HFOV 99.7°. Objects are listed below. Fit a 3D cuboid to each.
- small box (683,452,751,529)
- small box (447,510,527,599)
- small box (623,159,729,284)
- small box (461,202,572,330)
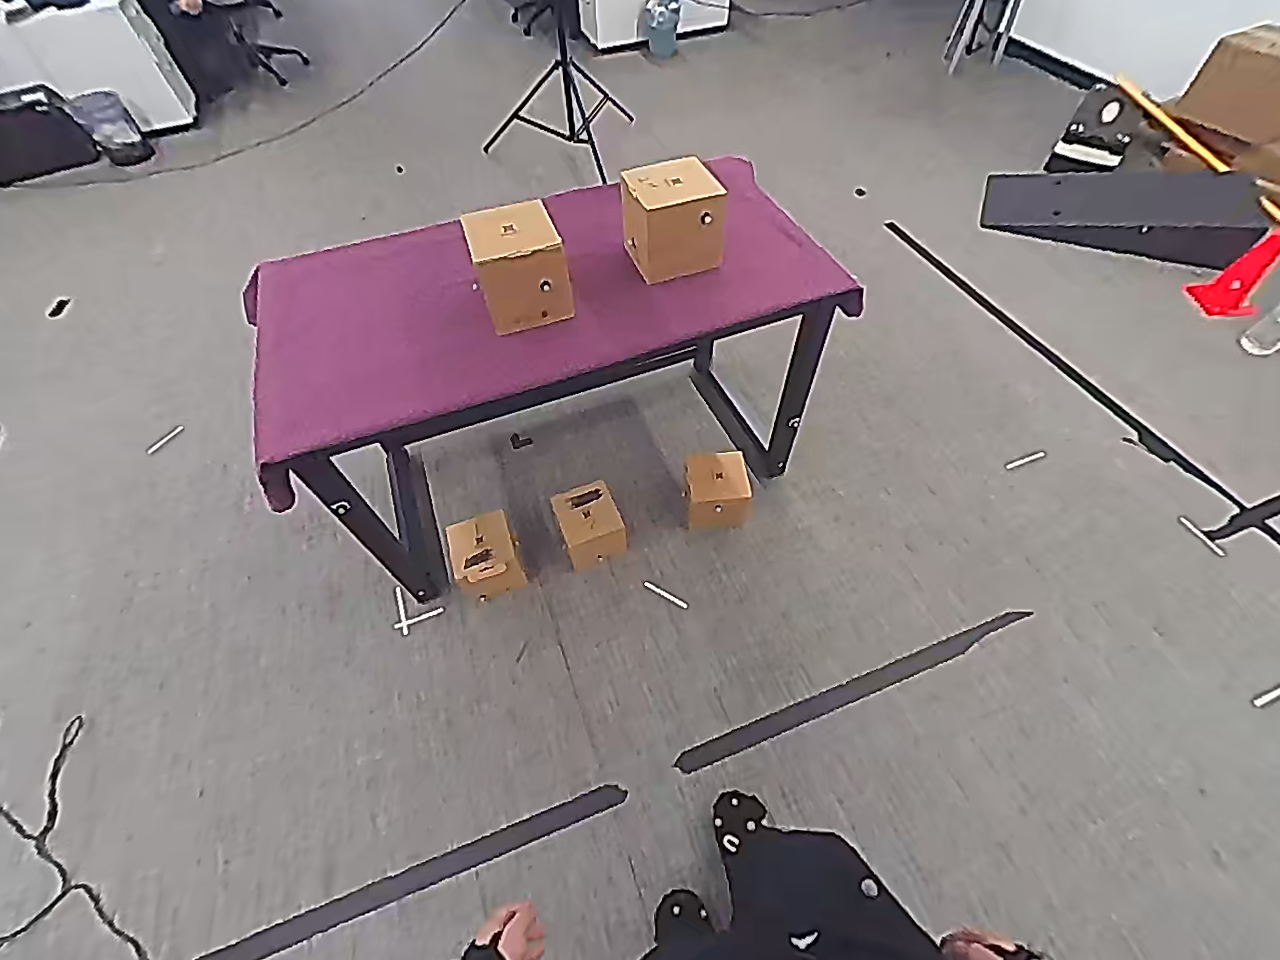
[{"bbox_3d":[0.228,0.036,1.641,0.179,0.176,0.168,-5,56,0],"label":"small box"},{"bbox_3d":[-0.431,0.219,1.536,0.168,0.176,0.179,-18,56,-10],"label":"small box"},{"bbox_3d":[0.071,-0.553,1.163,0.179,0.176,0.168,-18,56,-9],"label":"small box"},{"bbox_3d":[-0.242,-0.421,1.085,0.168,0.176,0.179,-17,55,-11],"label":"small box"}]
